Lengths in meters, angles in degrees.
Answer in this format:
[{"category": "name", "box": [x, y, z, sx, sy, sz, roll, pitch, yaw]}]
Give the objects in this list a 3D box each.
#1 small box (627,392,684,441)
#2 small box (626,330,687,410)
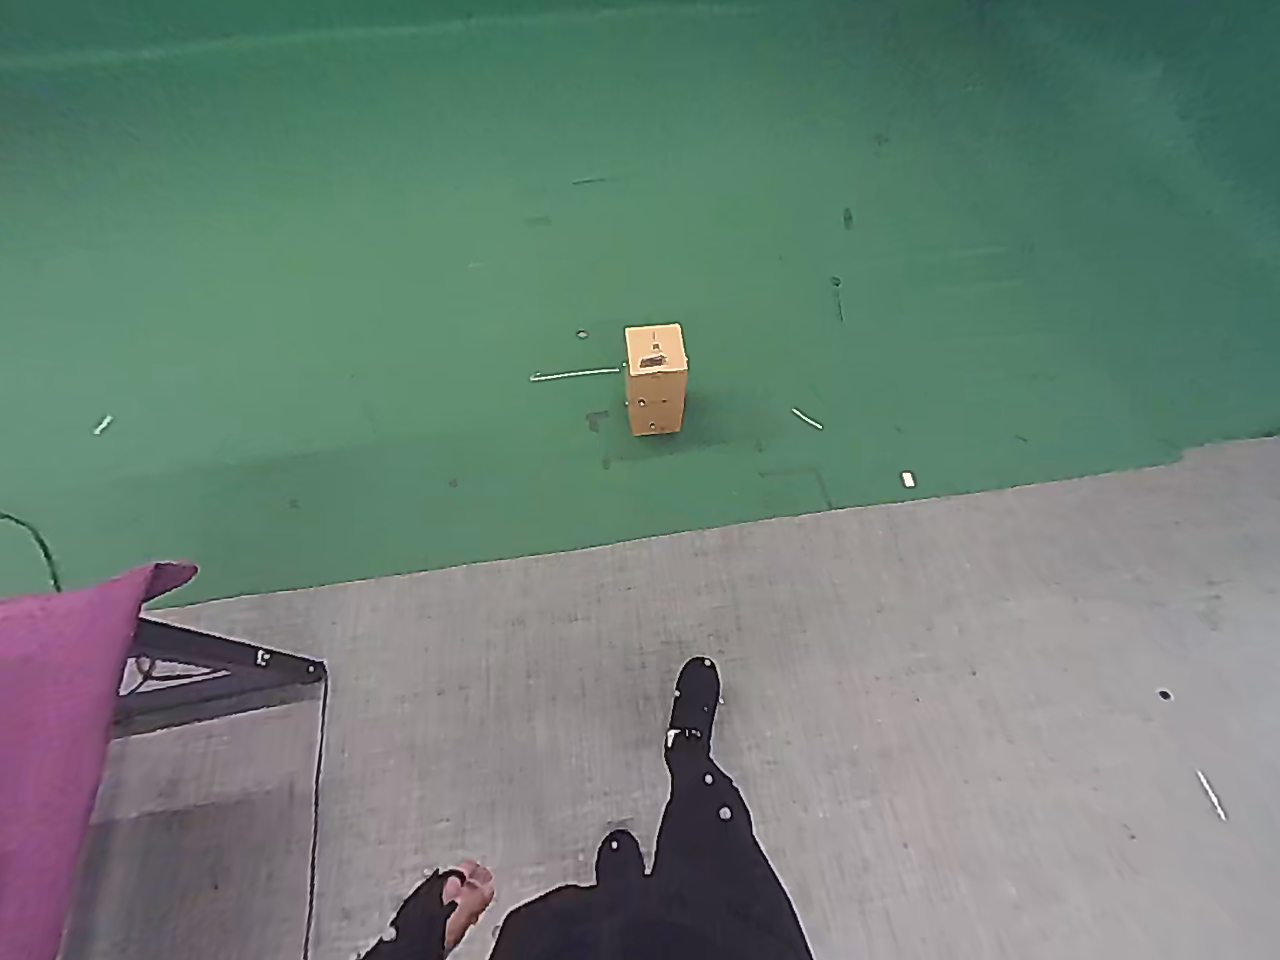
[{"category": "small box", "box": [0.047, -0.250, 1.781, 0.168, 0.176, 0.179, -6, 64, -3]}, {"category": "small box", "box": [0.047, -0.325, 1.634, 0.168, 0.176, 0.179, -5, 63, -3]}]
